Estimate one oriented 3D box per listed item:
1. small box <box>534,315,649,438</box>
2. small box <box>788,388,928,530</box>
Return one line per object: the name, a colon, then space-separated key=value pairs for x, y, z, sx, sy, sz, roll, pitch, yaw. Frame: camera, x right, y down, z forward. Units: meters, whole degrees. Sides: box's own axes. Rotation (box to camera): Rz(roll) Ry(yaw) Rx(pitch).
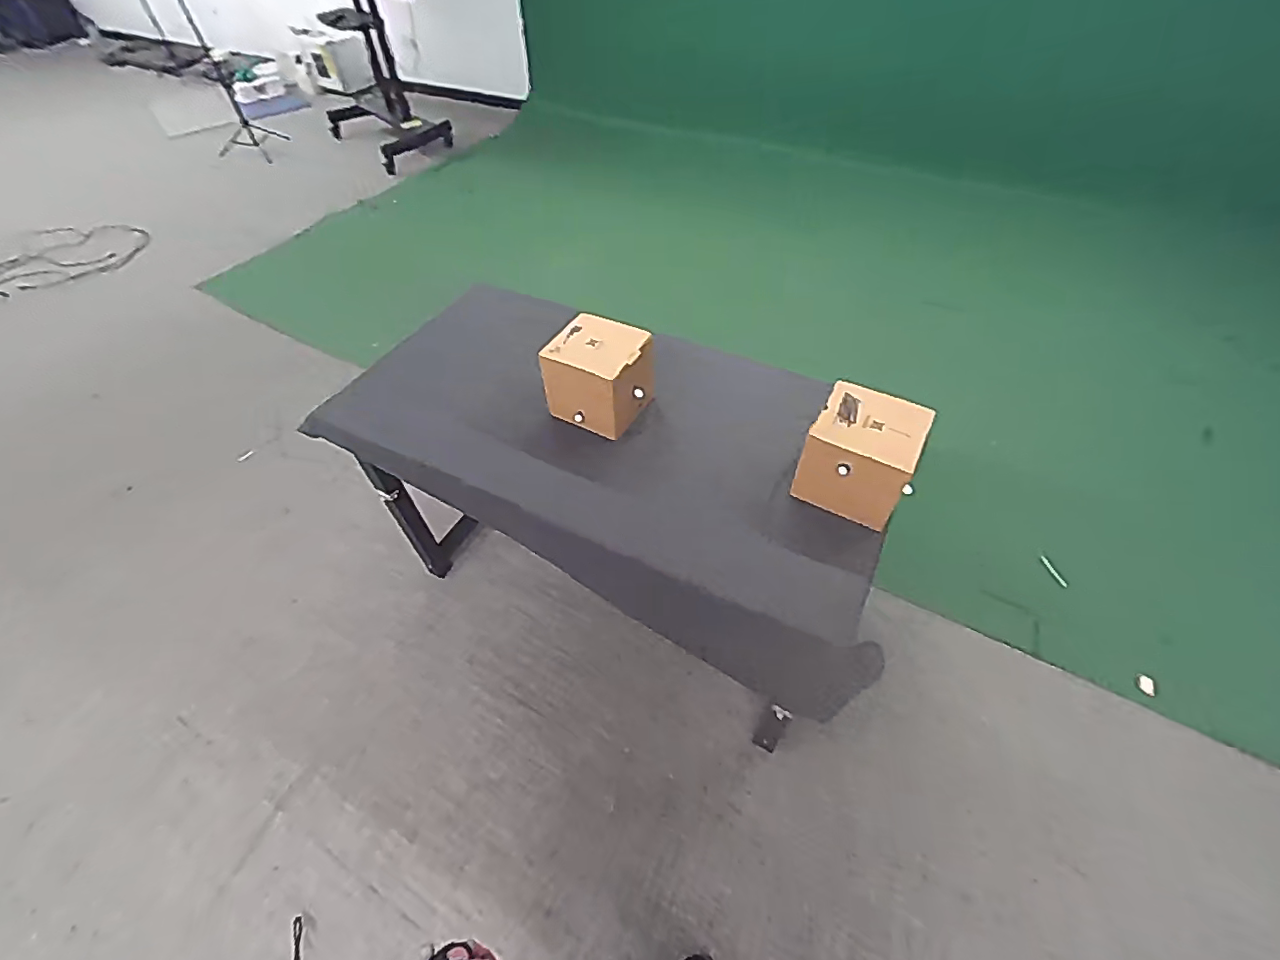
small box: x=-0.096 y=-0.213 z=1.139 sx=0.179 sy=0.176 sz=0.168 roll=24 pitch=53 yaw=17
small box: x=0.393 y=-0.036 z=0.997 sx=0.179 sy=0.176 sz=0.168 roll=25 pitch=54 yaw=18
